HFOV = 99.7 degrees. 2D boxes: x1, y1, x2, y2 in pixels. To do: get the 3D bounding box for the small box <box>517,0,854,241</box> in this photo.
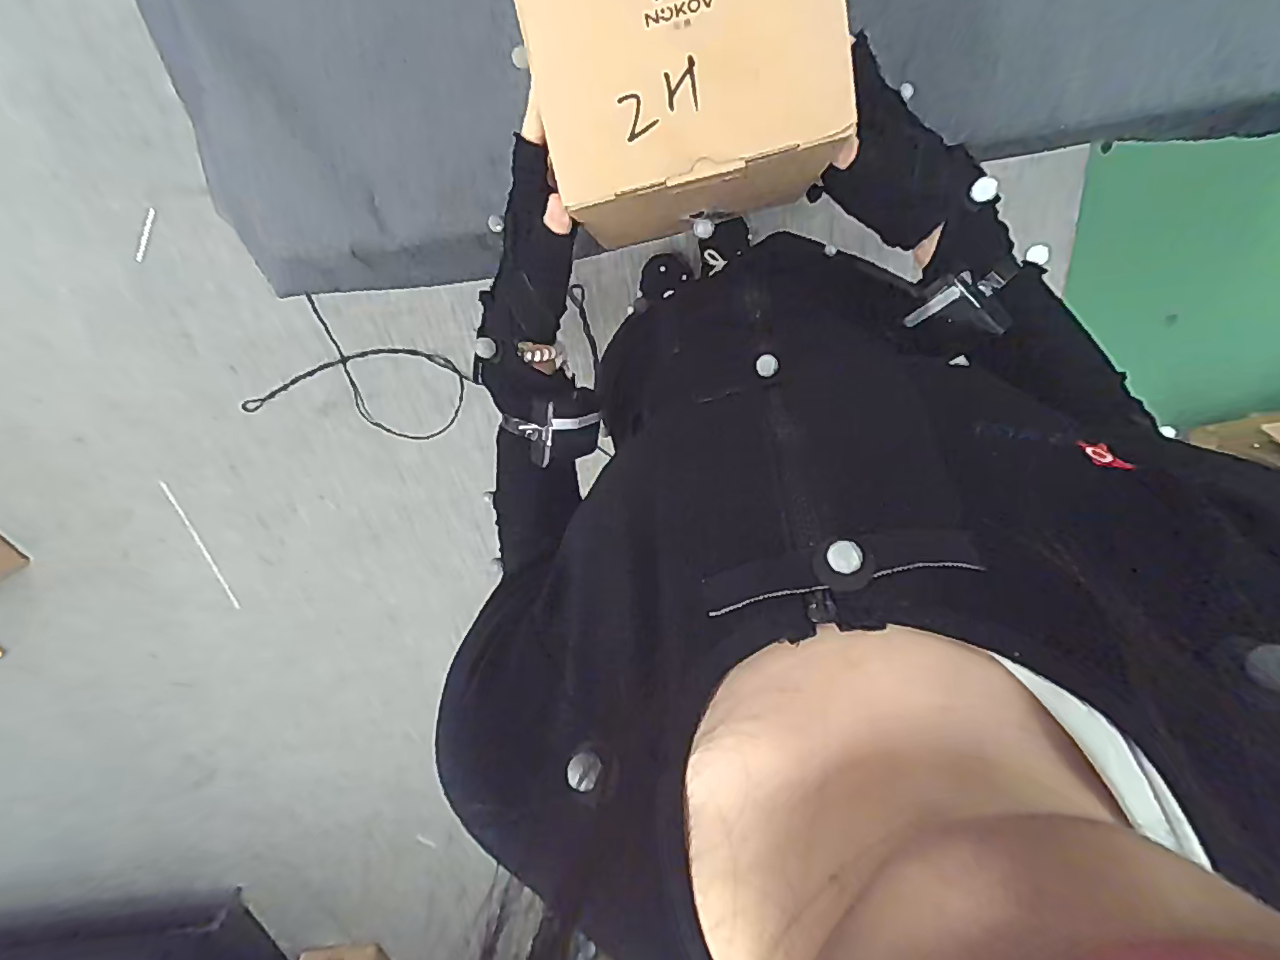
[{"bbox_3d":[0.024,-0.274,0.351,0.168,0.176,0.179,-11,106,9],"label":"small box"}]
